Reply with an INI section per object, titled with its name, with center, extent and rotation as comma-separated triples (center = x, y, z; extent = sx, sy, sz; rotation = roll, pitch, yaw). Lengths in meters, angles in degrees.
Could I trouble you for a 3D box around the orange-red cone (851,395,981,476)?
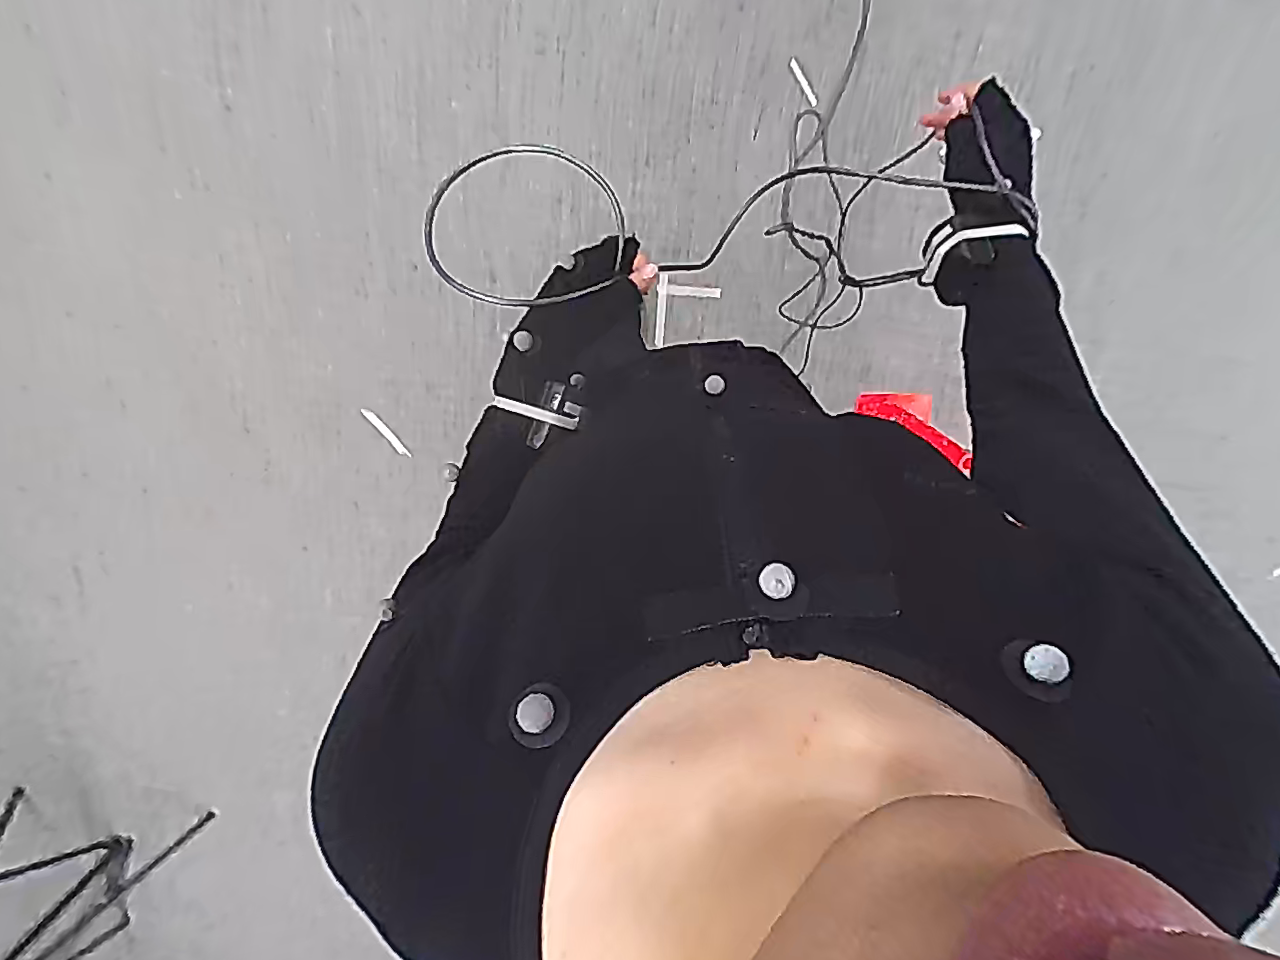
[orange-red cone]
center = 0.673, -0.077, 1.265
extent = 0.199, 0.360, 0.198
rotation = 1, 107, -2
